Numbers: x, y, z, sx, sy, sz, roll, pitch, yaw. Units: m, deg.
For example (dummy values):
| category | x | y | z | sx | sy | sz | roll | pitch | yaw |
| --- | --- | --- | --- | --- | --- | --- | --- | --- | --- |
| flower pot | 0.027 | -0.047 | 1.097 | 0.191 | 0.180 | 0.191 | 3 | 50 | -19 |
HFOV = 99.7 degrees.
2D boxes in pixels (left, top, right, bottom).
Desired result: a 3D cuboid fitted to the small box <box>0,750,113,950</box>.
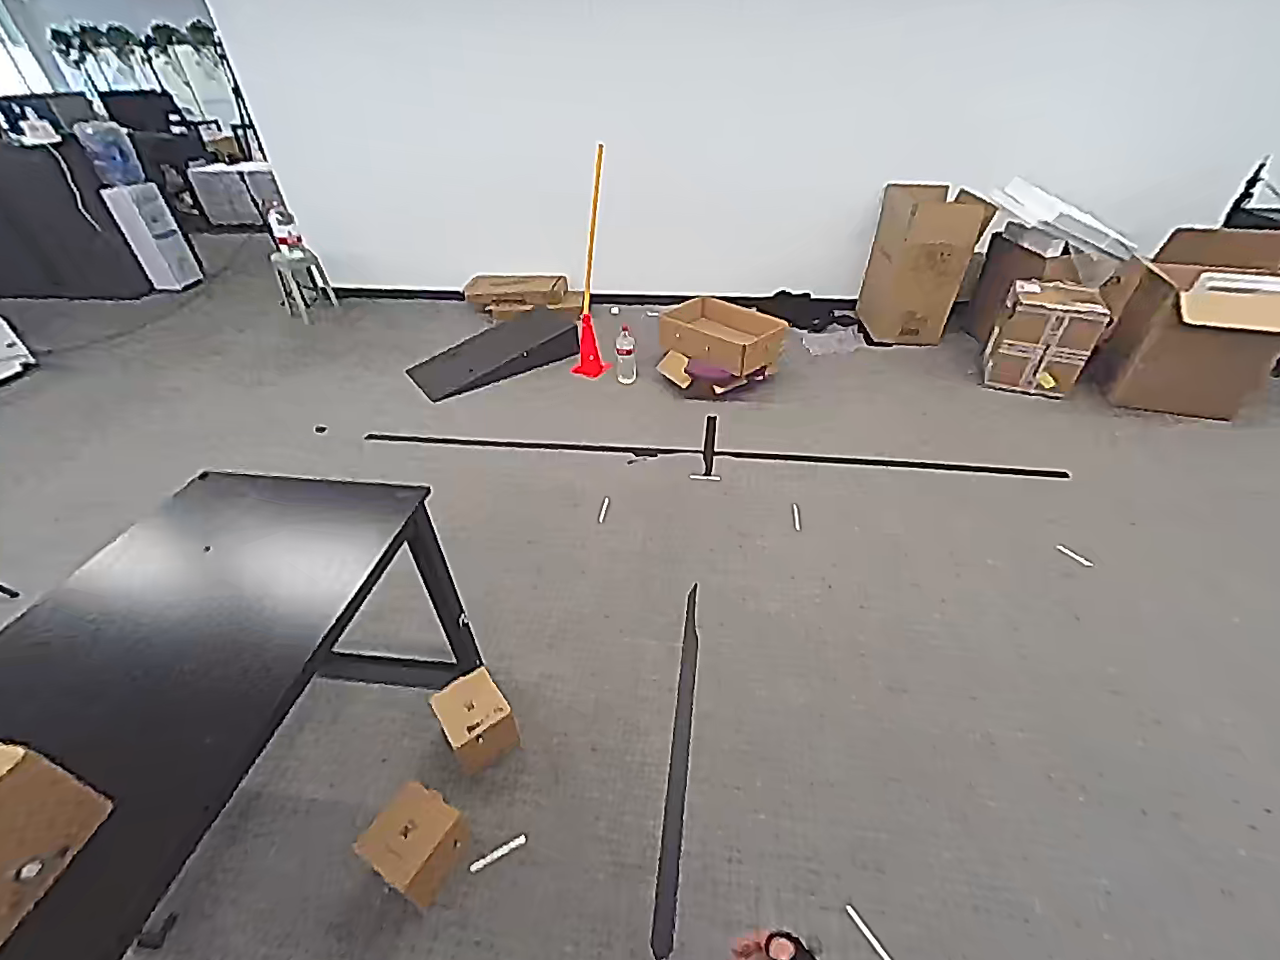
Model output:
| category | x | y | z | sx | sy | sz | roll | pitch | yaw |
| --- | --- | --- | --- | --- | --- | --- | --- | --- | --- |
| small box | -0.810 | 0.434 | 0.637 | 0.179 | 0.176 | 0.168 | 4 | 39 | 7 |

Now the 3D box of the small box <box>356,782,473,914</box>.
| category | x | y | z | sx | sy | sz | roll | pitch | yaw |
| --- | --- | --- | --- | --- | --- | --- | --- | --- | --- |
| small box | -0.514 | 0.859 | 1.265 | 0.168 | 0.176 | 0.179 | 17 | 43 | 24 |

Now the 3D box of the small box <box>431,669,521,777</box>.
| category | x | y | z | sx | sy | sz | roll | pitch | yaw |
| --- | --- | --- | --- | --- | --- | --- | --- | --- | --- |
| small box | -0.449 | 0.672 | 1.494 | 0.168 | 0.176 | 0.179 | -27 | 45 | -28 |
